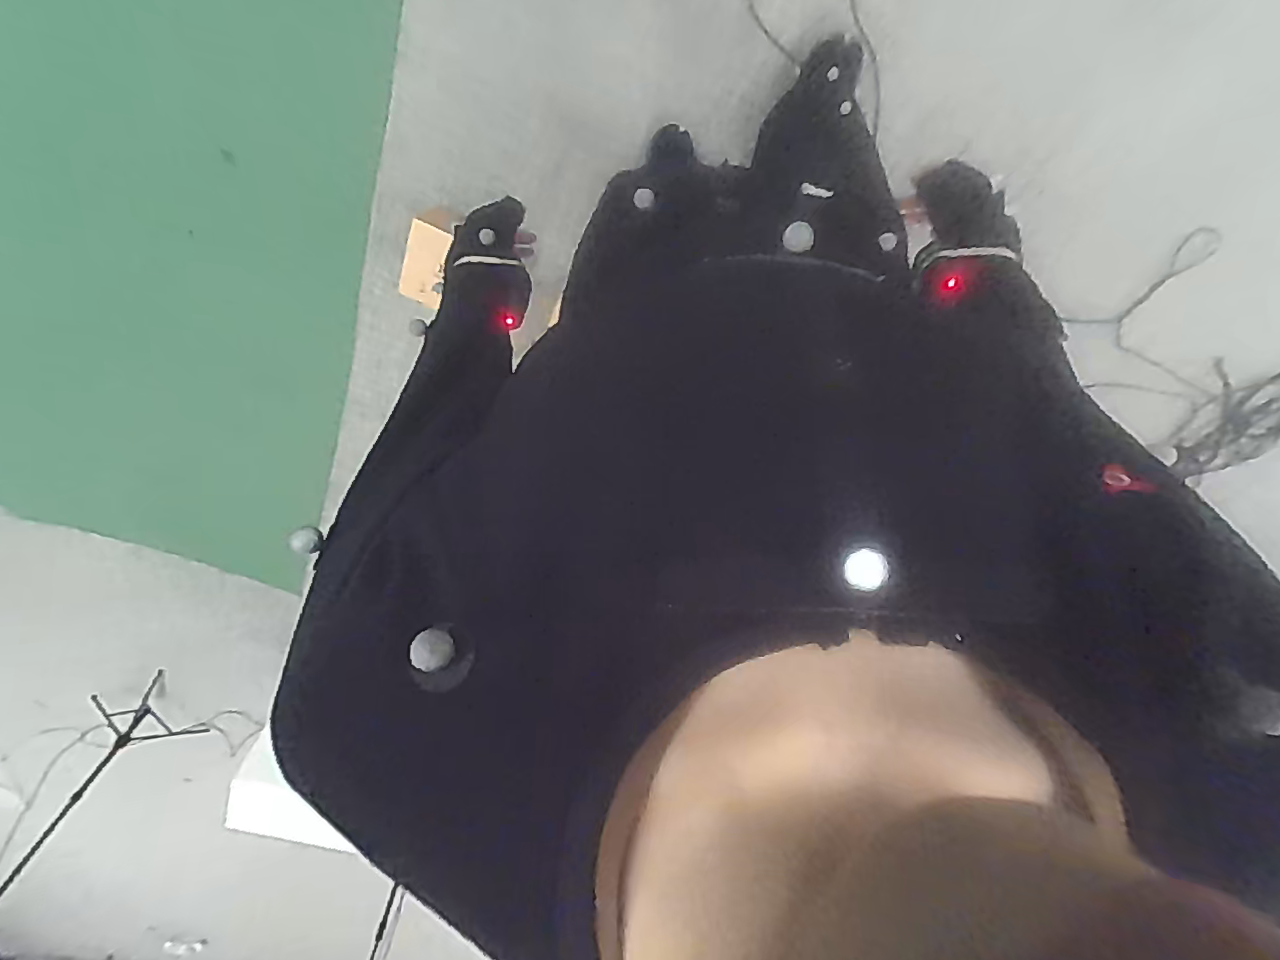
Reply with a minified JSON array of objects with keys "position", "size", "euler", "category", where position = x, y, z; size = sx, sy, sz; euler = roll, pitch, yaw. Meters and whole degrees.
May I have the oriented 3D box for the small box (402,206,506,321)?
[{"position":[-0.423,-0.504,1.248],"size":[0.168,0.176,0.179],"euler":[22,123,-13],"category":"small box"}]
